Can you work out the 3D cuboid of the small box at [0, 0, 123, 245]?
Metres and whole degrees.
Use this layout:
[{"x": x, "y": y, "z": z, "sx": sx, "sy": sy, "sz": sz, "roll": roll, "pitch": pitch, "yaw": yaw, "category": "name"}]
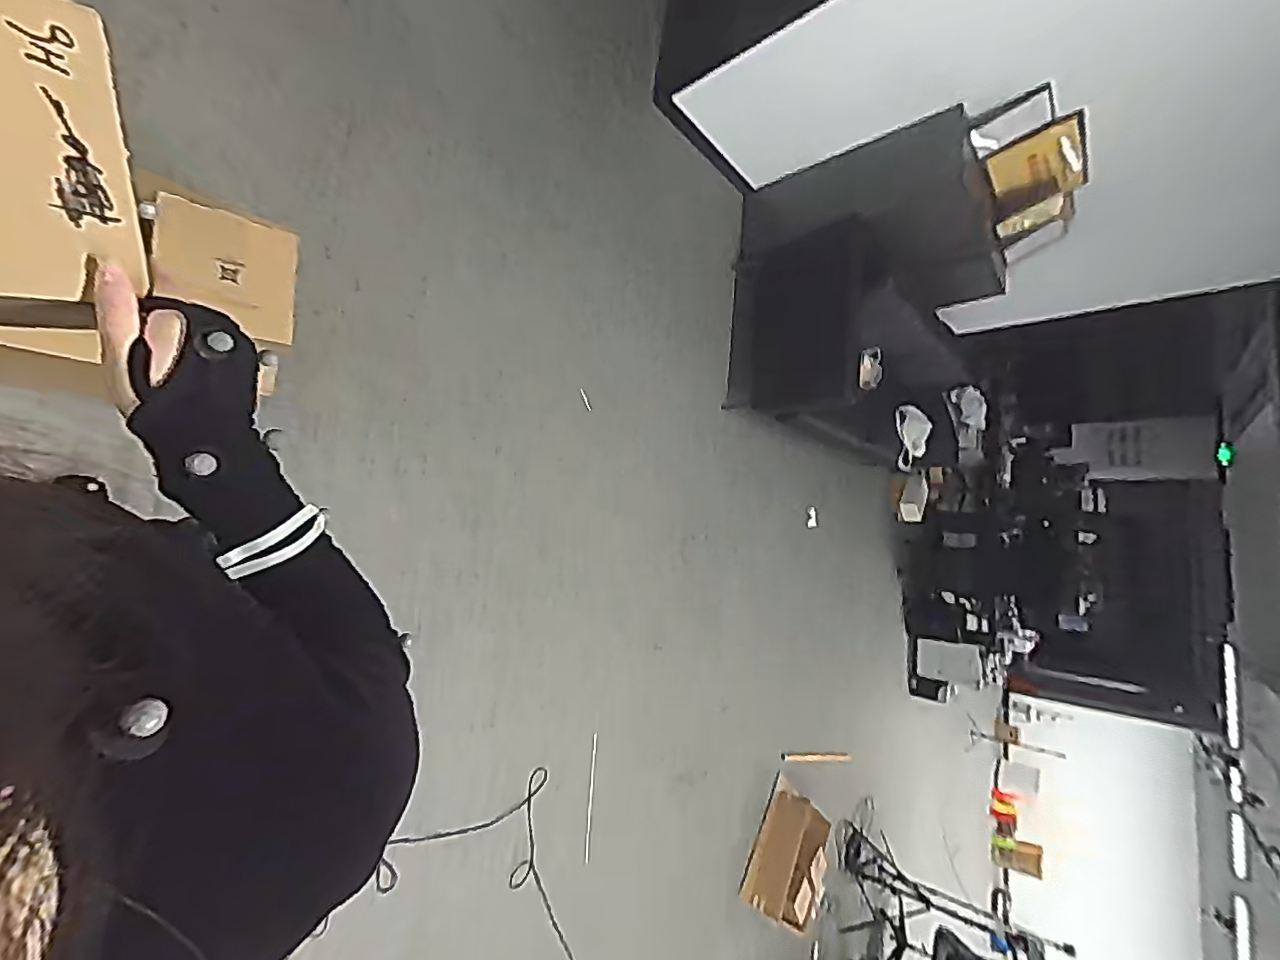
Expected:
[{"x": -0.661, "y": -0.372, "z": 0.557, "sx": 0.168, "sy": 0.176, "sz": 0.179, "roll": -3, "pitch": 93, "yaw": -50, "category": "small box"}]
